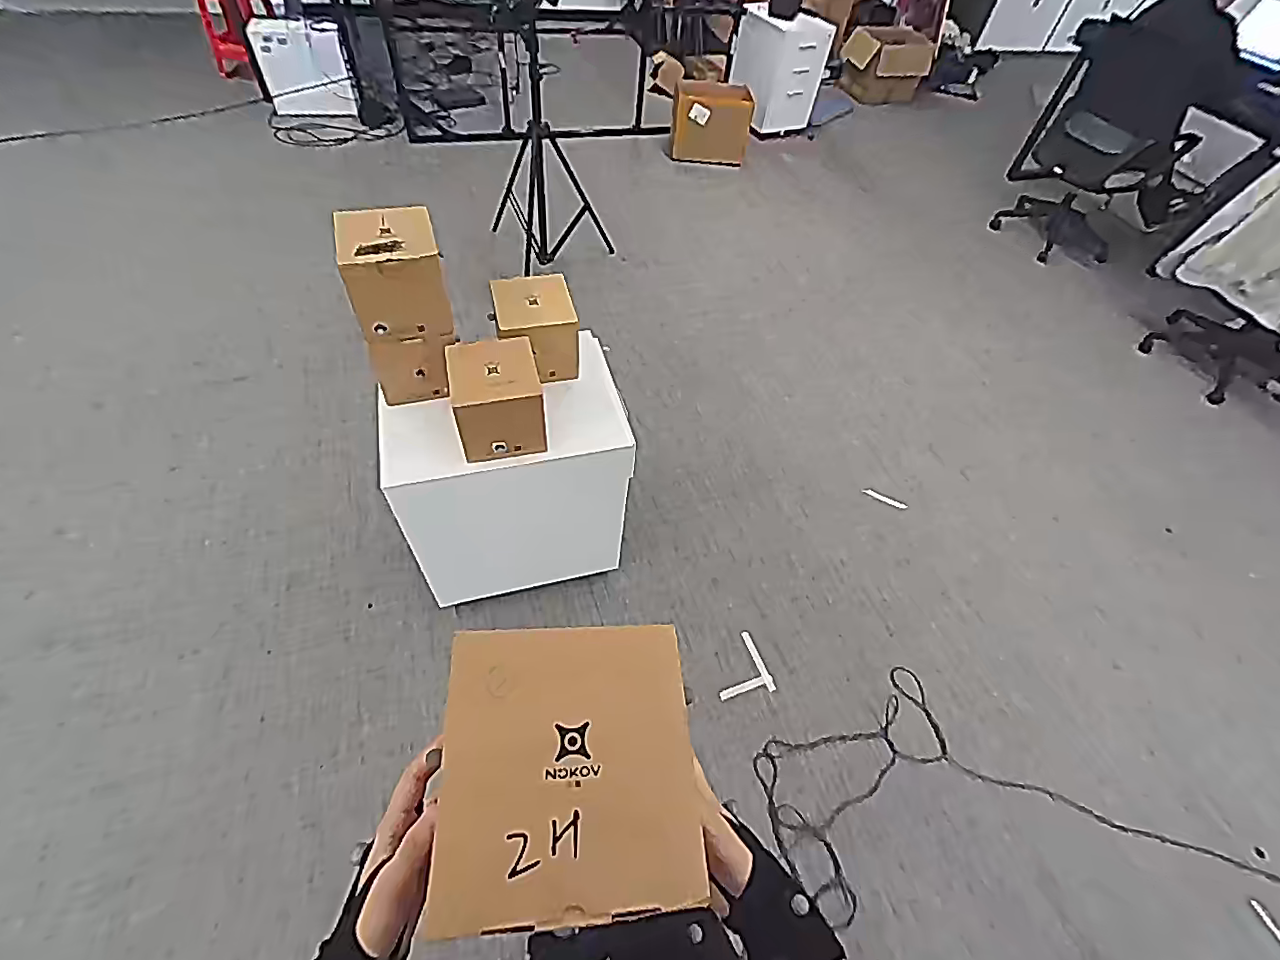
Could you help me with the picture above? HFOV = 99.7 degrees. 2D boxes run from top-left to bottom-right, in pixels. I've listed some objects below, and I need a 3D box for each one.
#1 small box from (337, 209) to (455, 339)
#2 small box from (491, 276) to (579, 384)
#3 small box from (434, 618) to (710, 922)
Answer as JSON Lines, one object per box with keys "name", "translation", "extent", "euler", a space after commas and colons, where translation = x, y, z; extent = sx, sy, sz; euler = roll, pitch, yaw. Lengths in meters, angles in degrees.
{"name": "small box", "translation": [-0.462, -0.387, 1.036], "extent": [0.168, 0.176, 0.179], "euler": [-13, 56, -16]}
{"name": "small box", "translation": [-0.235, -0.333, 1.229], "extent": [0.168, 0.176, 0.179], "euler": [-11, 55, -13]}
{"name": "small box", "translation": [-0.056, 0.223, 0.427], "extent": [0.168, 0.176, 0.179], "euler": [1, 56, -10]}
